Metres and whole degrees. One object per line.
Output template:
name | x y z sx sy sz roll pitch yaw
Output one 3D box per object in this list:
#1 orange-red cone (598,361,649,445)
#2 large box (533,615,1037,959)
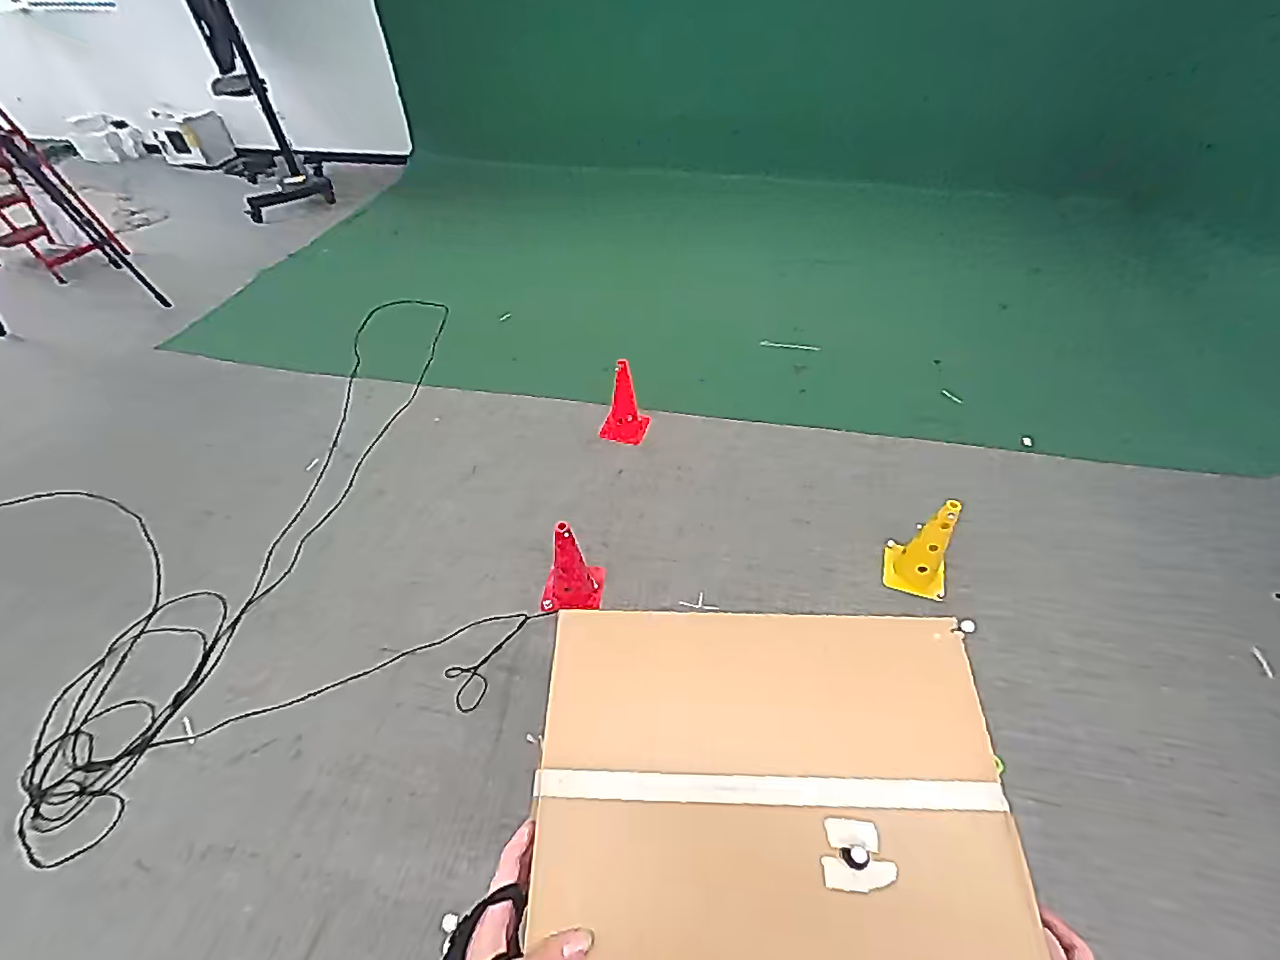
orange-red cone | -0.079 -0.352 2.337 0.199 0.360 0.198 12 47 14
large box | 0.115 0.351 0.613 0.408 0.320 0.320 0 60 2
